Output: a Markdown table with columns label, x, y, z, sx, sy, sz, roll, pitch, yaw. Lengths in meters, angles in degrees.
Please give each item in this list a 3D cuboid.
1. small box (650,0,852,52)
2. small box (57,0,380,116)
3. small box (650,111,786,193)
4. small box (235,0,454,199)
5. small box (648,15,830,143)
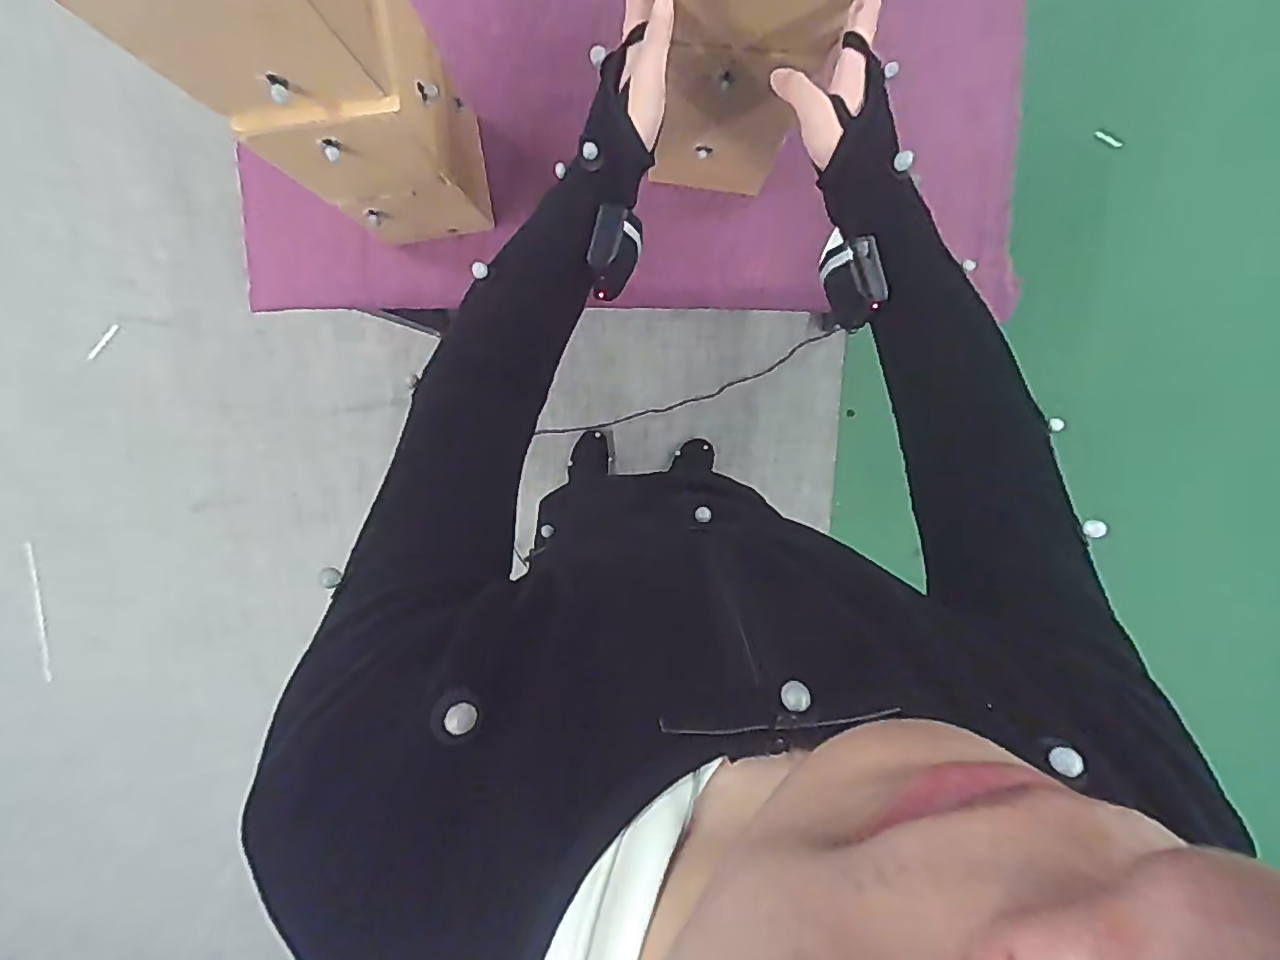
| label | x | y | z | sx | sy | sz | roll | pitch | yaw |
| --- | --- | --- | --- | --- | --- | --- | --- | --- | --- |
| small box | 0.101 | -0.479 | 0.424 | 0.179 | 0.176 | 0.168 | 5 | 97 | 1 |
| small box | -0.338 | -0.437 | 0.446 | 0.179 | 0.176 | 0.168 | -5 | 96 | 2 |
| small box | 0.111 | -0.525 | 0.754 | 0.179 | 0.176 | 0.168 | 8 | 98 | 0 |
| small box | -0.324 | -0.441 | 0.610 | 0.179 | 0.176 | 0.168 | -6 | 96 | 2 |
| small box | 0.105 | -0.500 | 0.593 | 0.179 | 0.176 | 0.168 | 7 | 98 | 0 |
